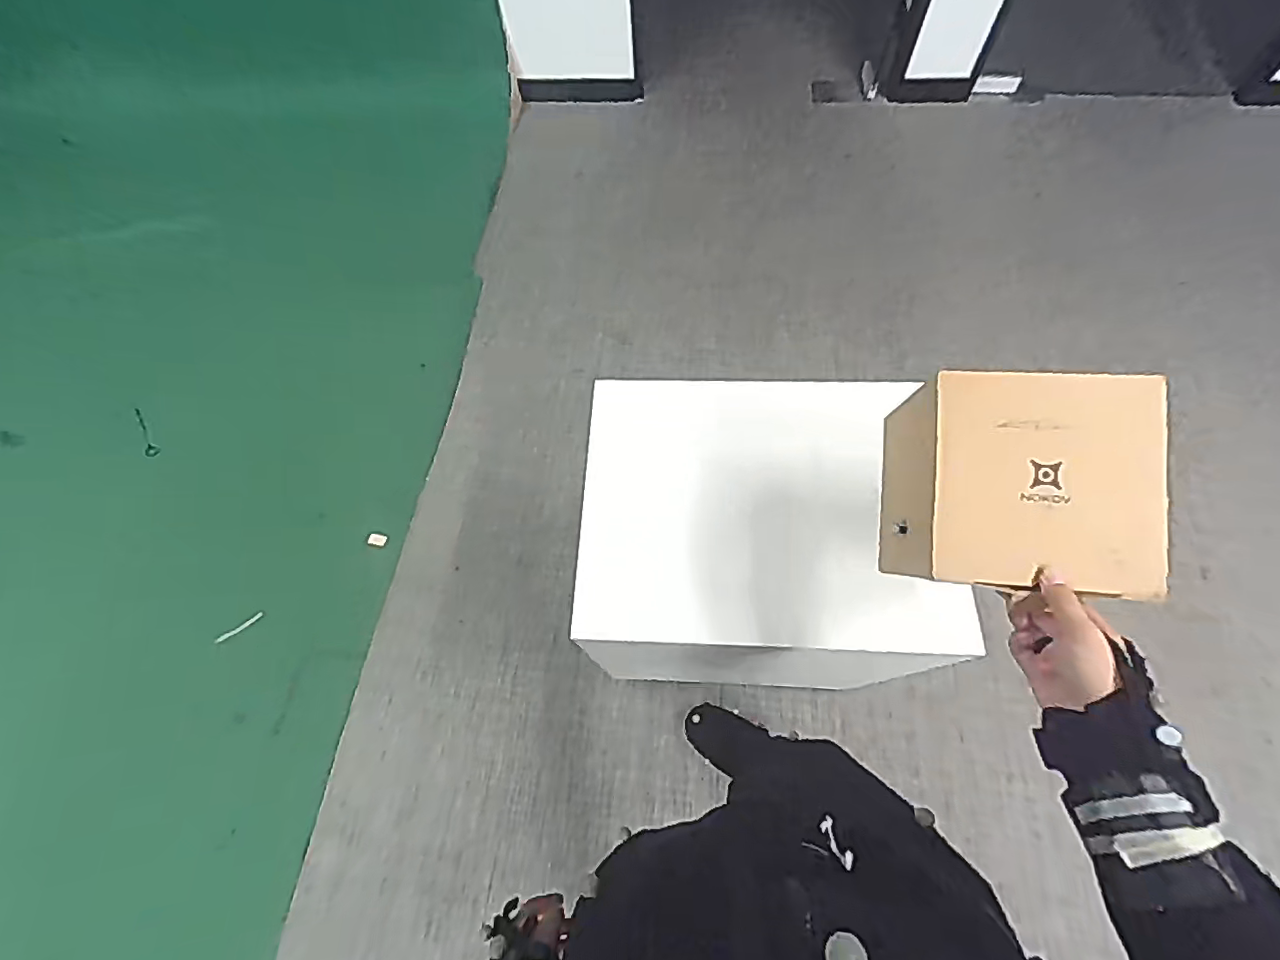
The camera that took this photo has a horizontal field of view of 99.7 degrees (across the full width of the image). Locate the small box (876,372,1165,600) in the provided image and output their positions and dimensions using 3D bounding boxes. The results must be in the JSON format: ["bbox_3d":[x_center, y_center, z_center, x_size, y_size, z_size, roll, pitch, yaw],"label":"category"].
[{"bbox_3d":[0.329,0.010,0.503,0.168,0.176,0.179,3,83,9],"label":"small box"}]
